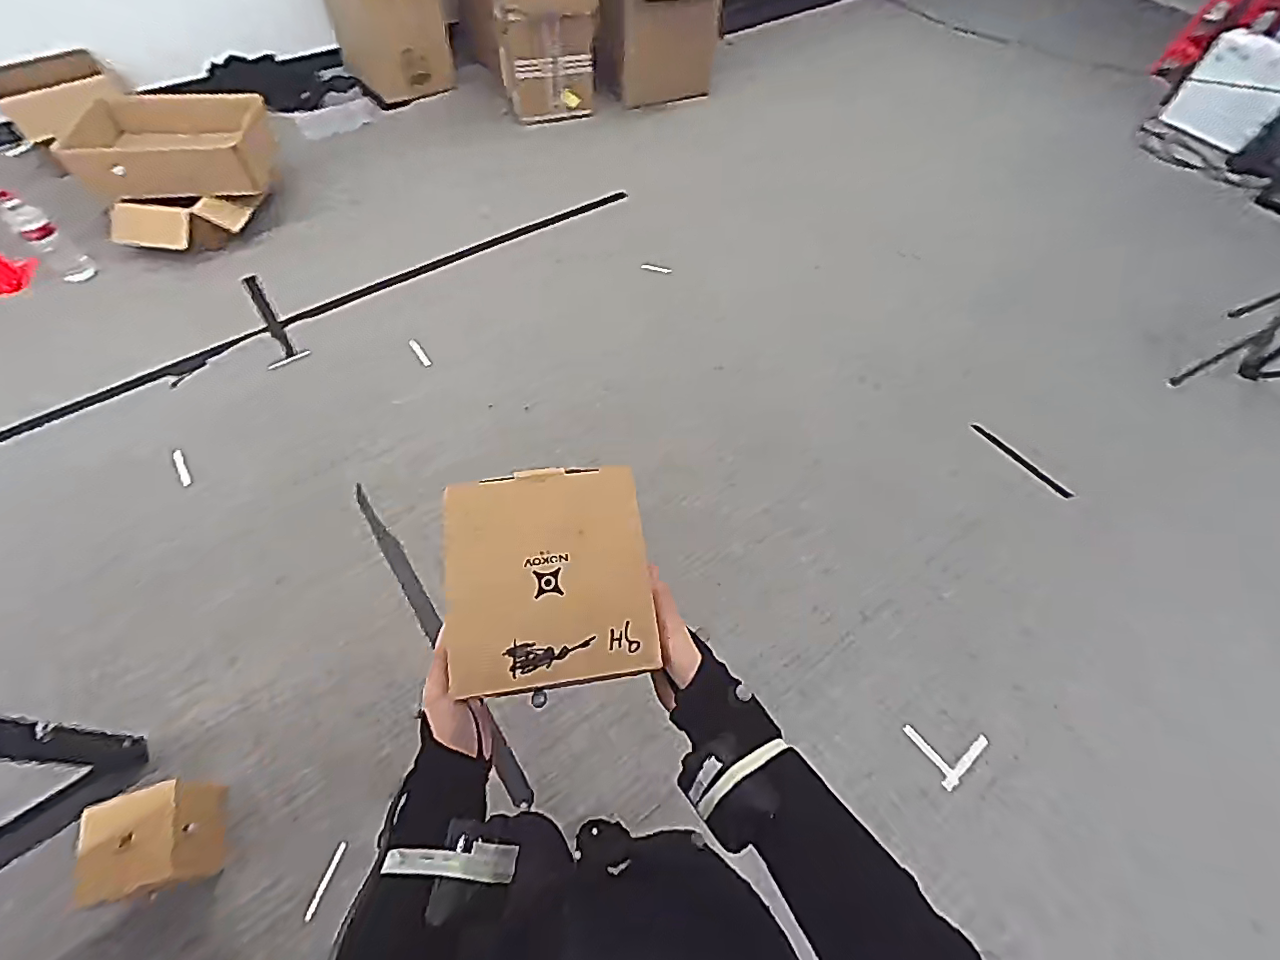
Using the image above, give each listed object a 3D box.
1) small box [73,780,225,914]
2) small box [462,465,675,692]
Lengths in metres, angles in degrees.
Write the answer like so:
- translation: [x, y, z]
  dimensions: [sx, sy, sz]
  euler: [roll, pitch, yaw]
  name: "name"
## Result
- translation: [-0.990, 0.744, 1.109]
  dimensions: [0.168, 0.176, 0.179]
  euler: [-16, 62, -13]
  name: "small box"
- translation: [-0.070, 0.102, 0.519]
  dimensions: [0.168, 0.176, 0.179]
  euler: [-5, 70, -7]
  name: "small box"
